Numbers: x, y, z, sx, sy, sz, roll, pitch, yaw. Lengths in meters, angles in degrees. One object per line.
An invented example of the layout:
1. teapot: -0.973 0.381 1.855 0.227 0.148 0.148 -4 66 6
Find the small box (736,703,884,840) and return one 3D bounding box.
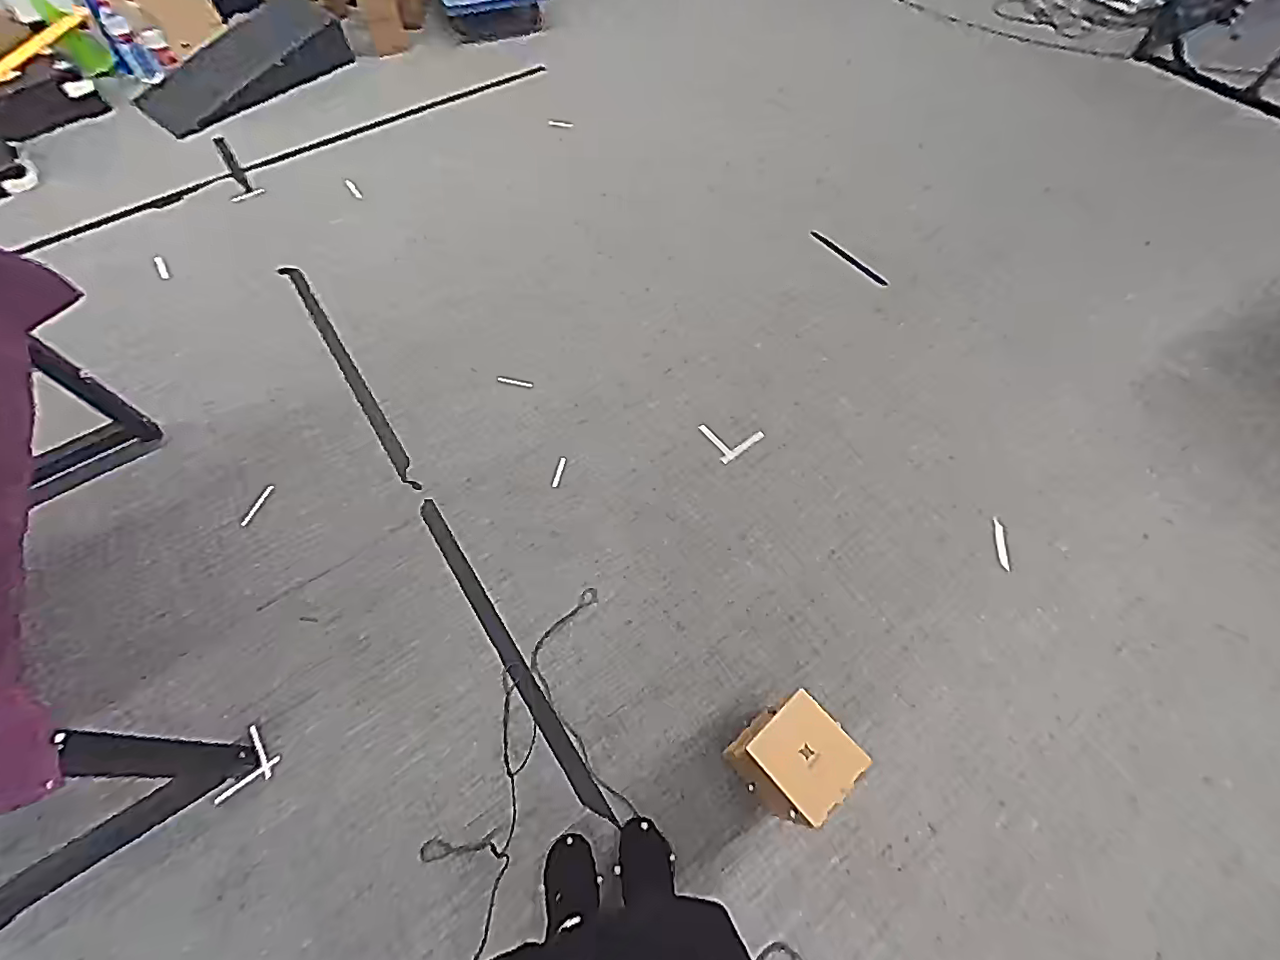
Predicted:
1. small box: 0.323 0.549 1.029 0.179 0.176 0.168 -36 84 -37
